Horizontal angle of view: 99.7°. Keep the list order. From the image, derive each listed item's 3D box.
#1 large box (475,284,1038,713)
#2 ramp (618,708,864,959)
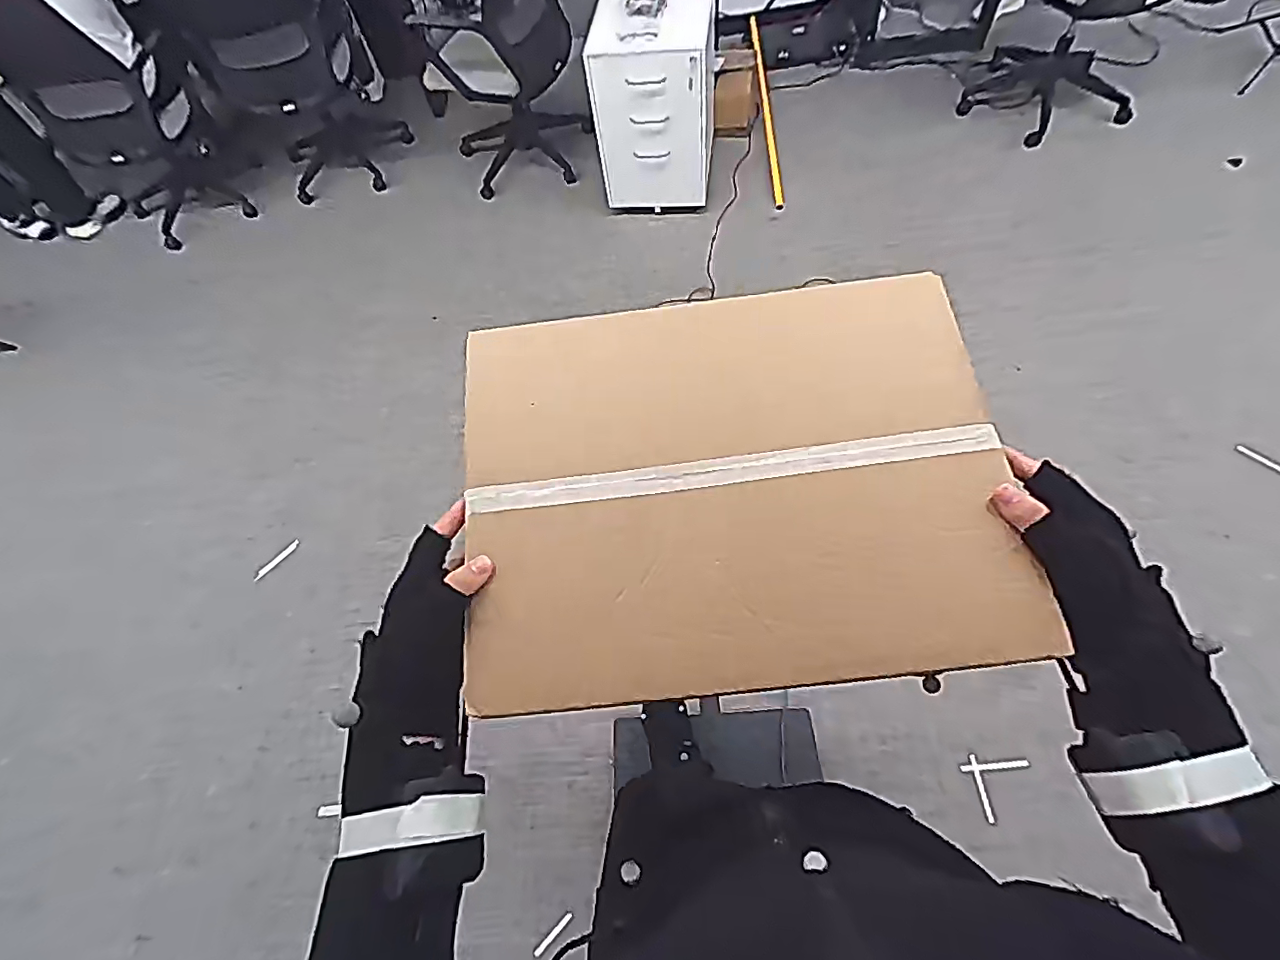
[{"bbox_3d":[0.079,0.045,0.569,0.408,0.320,0.320,-7,70,3],"label":"large box"},{"bbox_3d":[0.200,0.990,1.071,0.509,0.206,0.991,-7,62,4],"label":"ramp"}]
